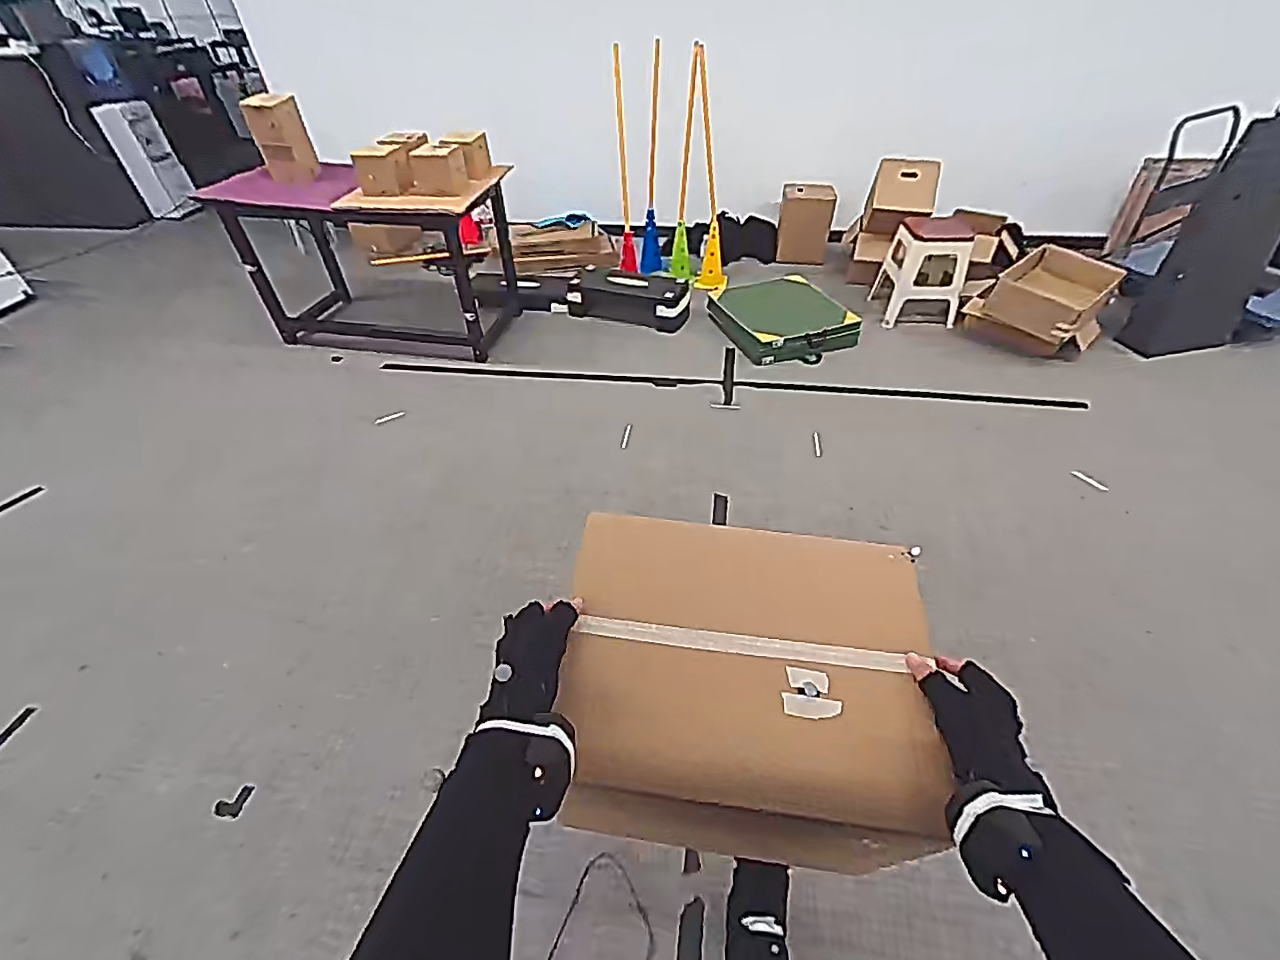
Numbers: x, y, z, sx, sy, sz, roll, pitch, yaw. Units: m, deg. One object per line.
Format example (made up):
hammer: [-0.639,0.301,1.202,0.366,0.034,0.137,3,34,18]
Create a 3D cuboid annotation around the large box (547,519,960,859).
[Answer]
large box: [0.117,0.281,0.723,0.408,0.320,0.320,6,50,4]
